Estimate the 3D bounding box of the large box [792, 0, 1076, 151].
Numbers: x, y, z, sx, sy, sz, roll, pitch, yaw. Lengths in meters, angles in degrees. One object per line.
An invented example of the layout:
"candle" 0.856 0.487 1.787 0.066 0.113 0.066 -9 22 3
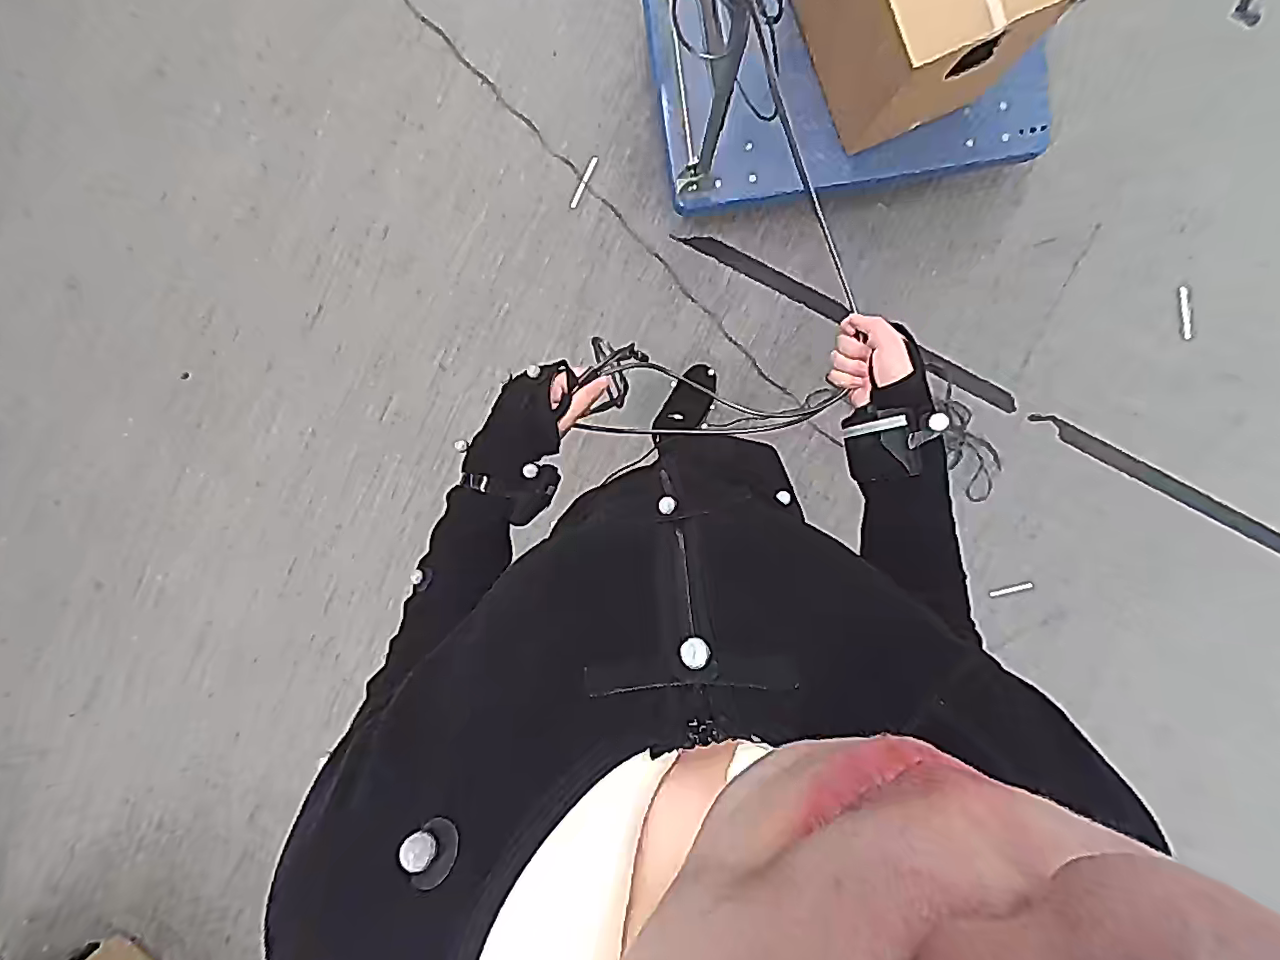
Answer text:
"large box" 0.532 -0.963 1.052 0.320 0.320 0.408 -23 97 3
